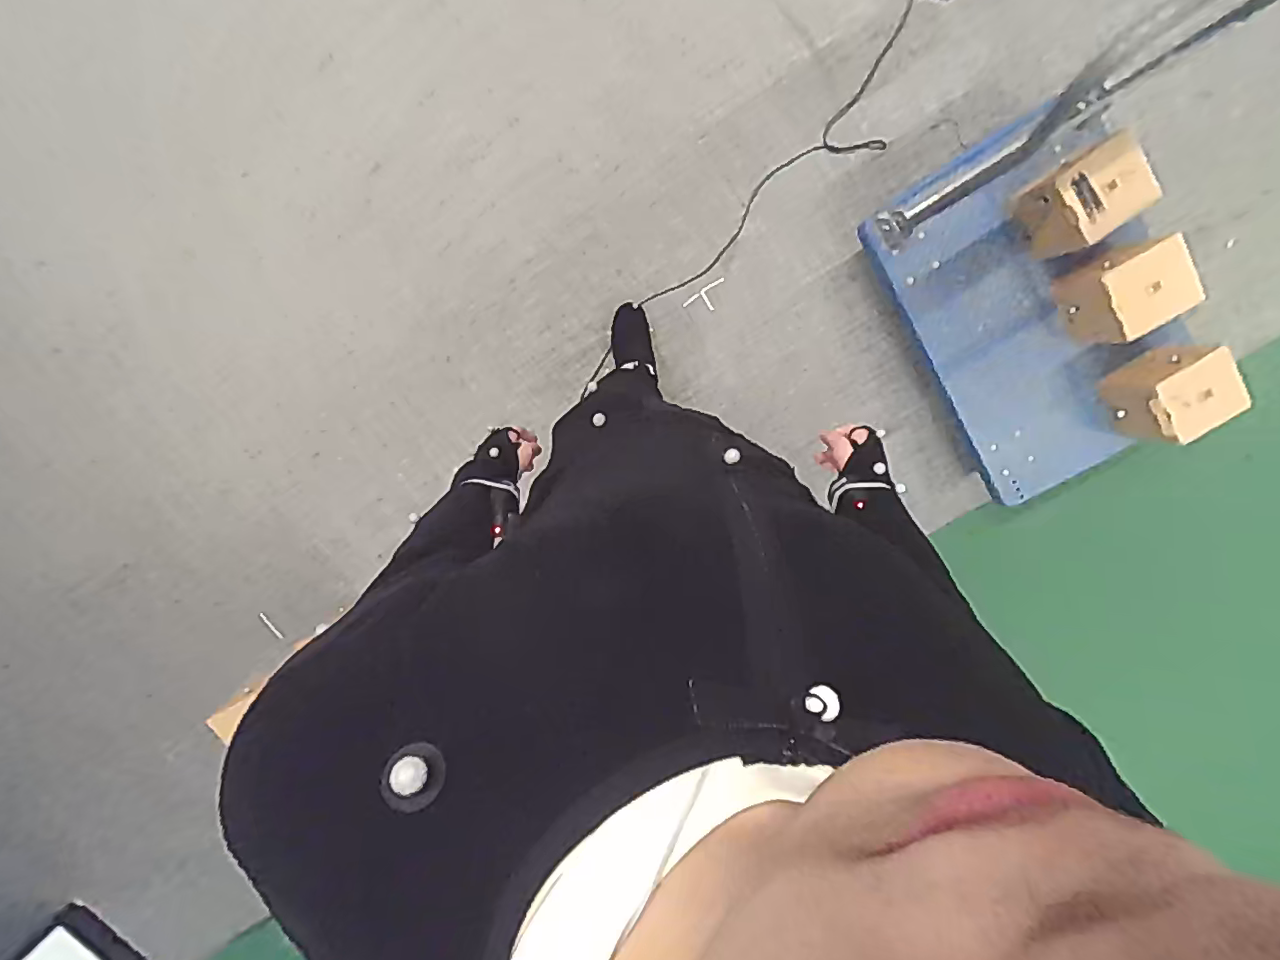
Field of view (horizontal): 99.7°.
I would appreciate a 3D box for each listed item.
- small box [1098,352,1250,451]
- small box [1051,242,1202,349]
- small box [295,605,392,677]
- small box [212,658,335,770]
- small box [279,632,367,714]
[{"bbox_3d":[1.284,-0.195,1.313,0.179,0.176,0.168,-32,99,8],"label":"small box"},{"bbox_3d":[1.130,-0.425,1.269,0.179,0.176,0.168,-31,100,9],"label":"small box"},{"bbox_3d":[-0.918,0.527,1.696,0.168,0.176,0.179,-27,101,6],"label":"small box"},{"bbox_3d":[-0.926,0.593,1.392,0.179,0.176,0.168,-28,100,6],"label":"small box"},{"bbox_3d":[-0.913,0.565,1.537,0.179,0.176,0.168,-28,101,5],"label":"small box"}]
